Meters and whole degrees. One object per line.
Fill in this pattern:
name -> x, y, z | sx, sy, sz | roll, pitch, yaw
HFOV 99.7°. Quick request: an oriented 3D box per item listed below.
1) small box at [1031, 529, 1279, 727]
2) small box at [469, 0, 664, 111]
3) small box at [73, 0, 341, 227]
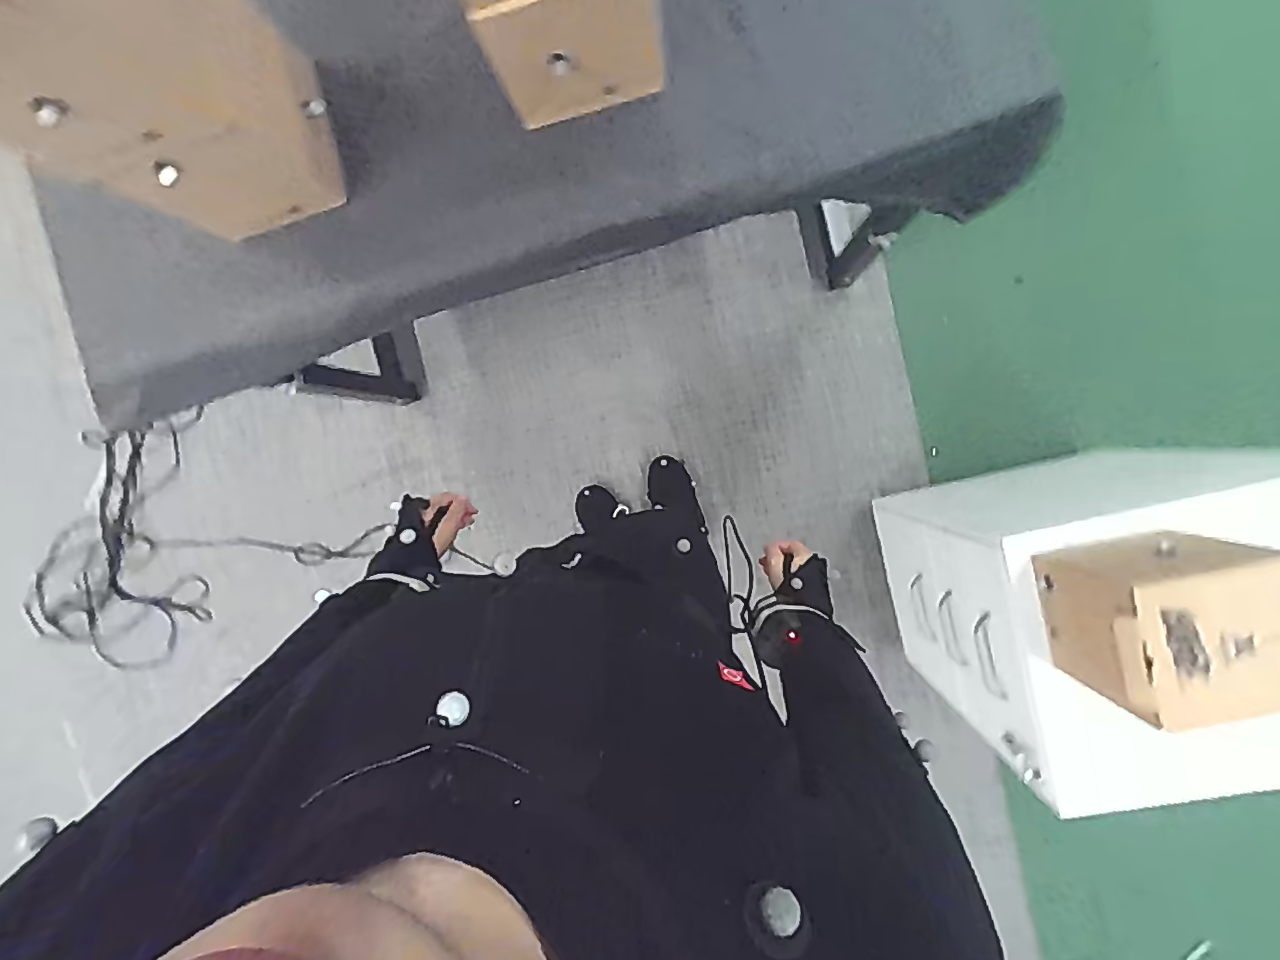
small box -> 0.607, 0.164, 0.646 | 0.179, 0.176, 0.168 | -12, 93, 5
small box -> -0.073, -0.503, 0.531 | 0.168, 0.176, 0.179 | -11, 92, 6
small box -> -0.457, -0.403, 0.570 | 0.168, 0.176, 0.179 | -14, 92, 6
